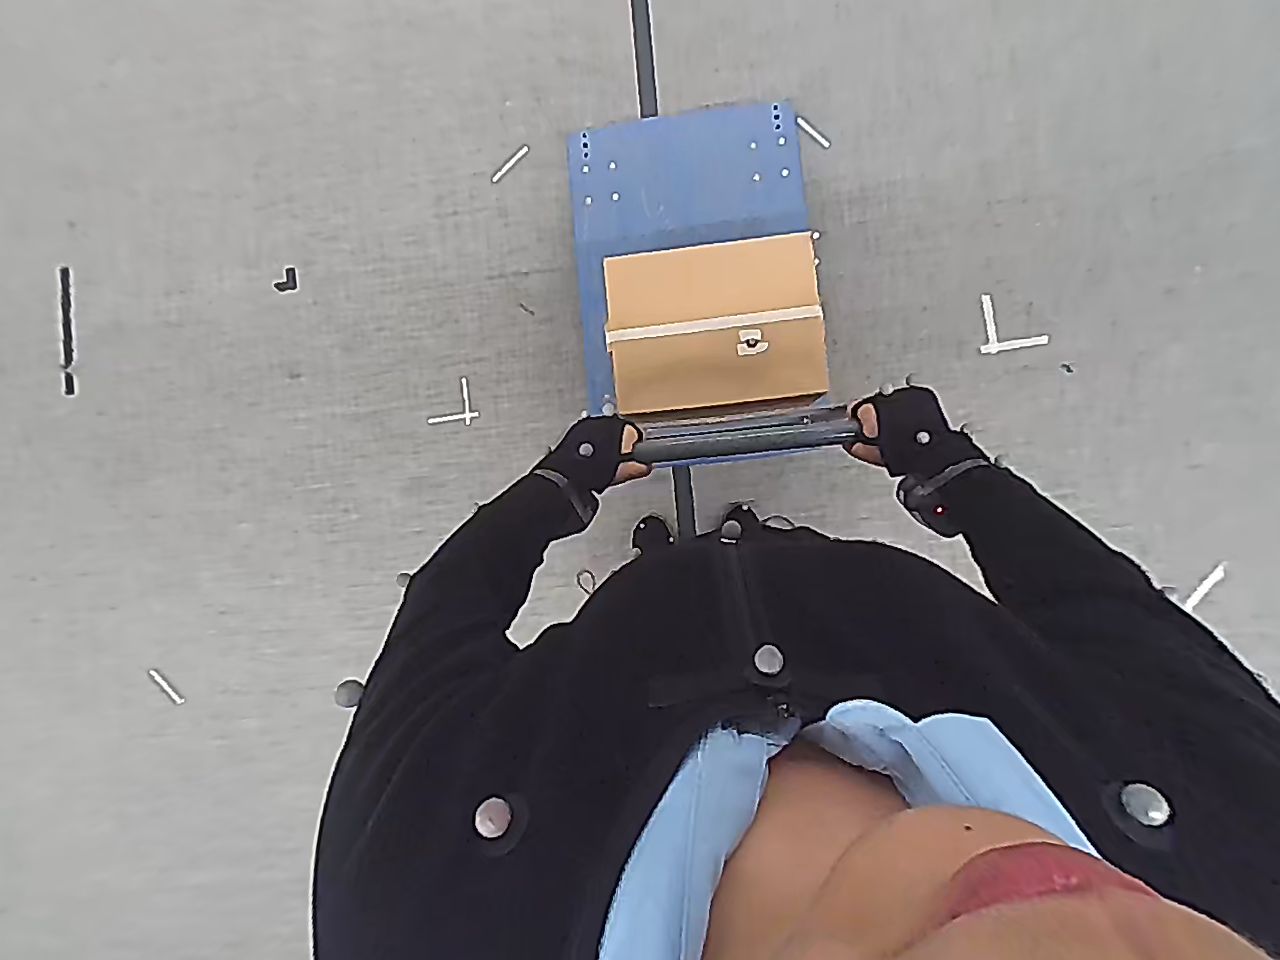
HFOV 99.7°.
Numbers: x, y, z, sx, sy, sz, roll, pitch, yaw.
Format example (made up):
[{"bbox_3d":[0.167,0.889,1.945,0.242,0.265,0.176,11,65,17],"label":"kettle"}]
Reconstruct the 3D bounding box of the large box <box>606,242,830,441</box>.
[{"bbox_3d":[0.154,-0.273,1.176,0.408,0.320,0.320,-6,89,4],"label":"large box"}]
